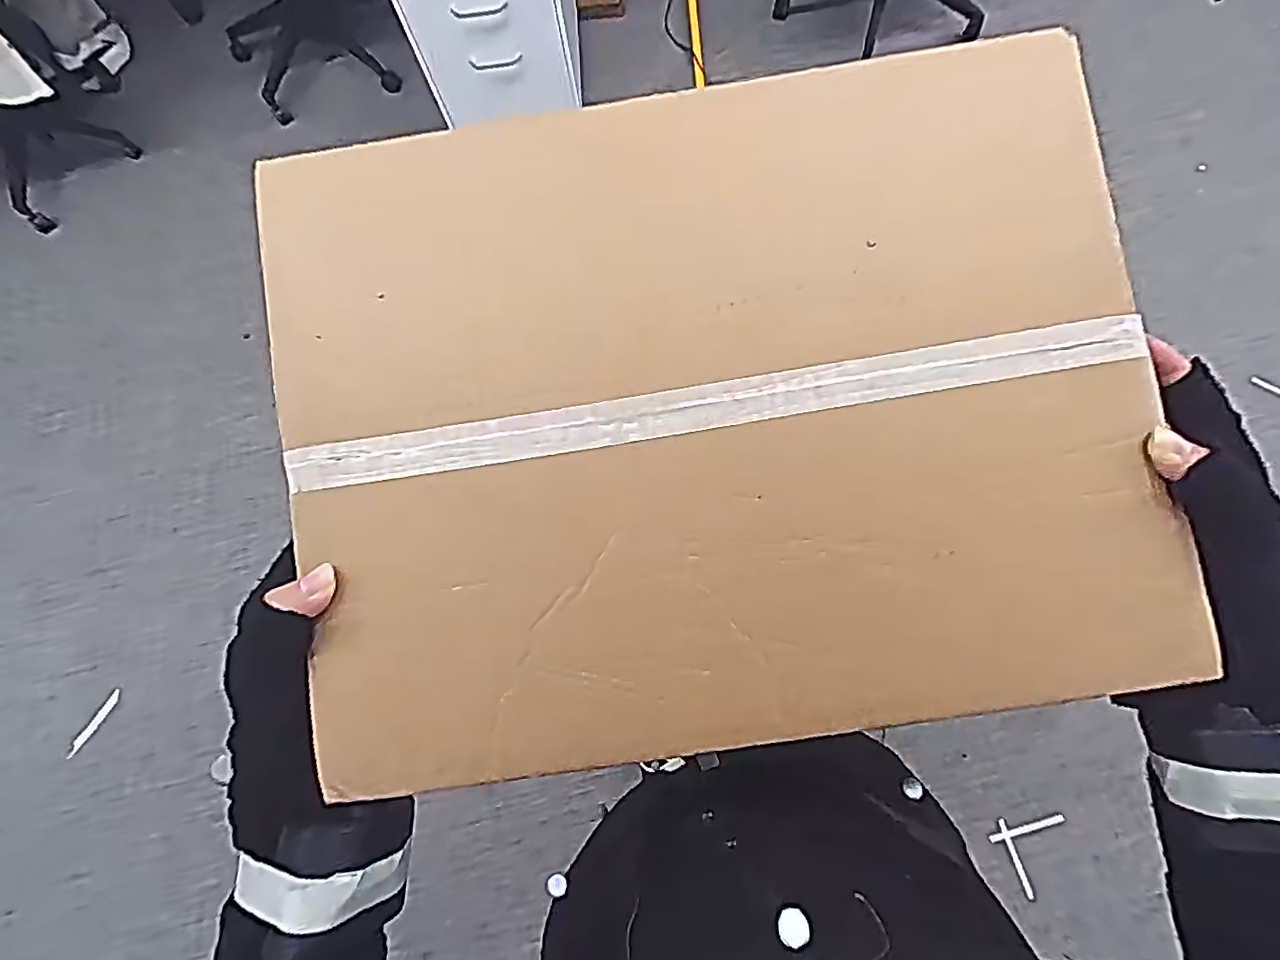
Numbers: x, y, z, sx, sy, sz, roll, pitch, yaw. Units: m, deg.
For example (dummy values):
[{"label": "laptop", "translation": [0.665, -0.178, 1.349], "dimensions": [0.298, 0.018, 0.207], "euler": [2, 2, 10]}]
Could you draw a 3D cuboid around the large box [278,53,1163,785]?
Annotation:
[{"label": "large box", "translation": [0.036, -0.026, 0.416], "dimensions": [0.408, 0.320, 0.320], "euler": [-9, 85, 1]}]
